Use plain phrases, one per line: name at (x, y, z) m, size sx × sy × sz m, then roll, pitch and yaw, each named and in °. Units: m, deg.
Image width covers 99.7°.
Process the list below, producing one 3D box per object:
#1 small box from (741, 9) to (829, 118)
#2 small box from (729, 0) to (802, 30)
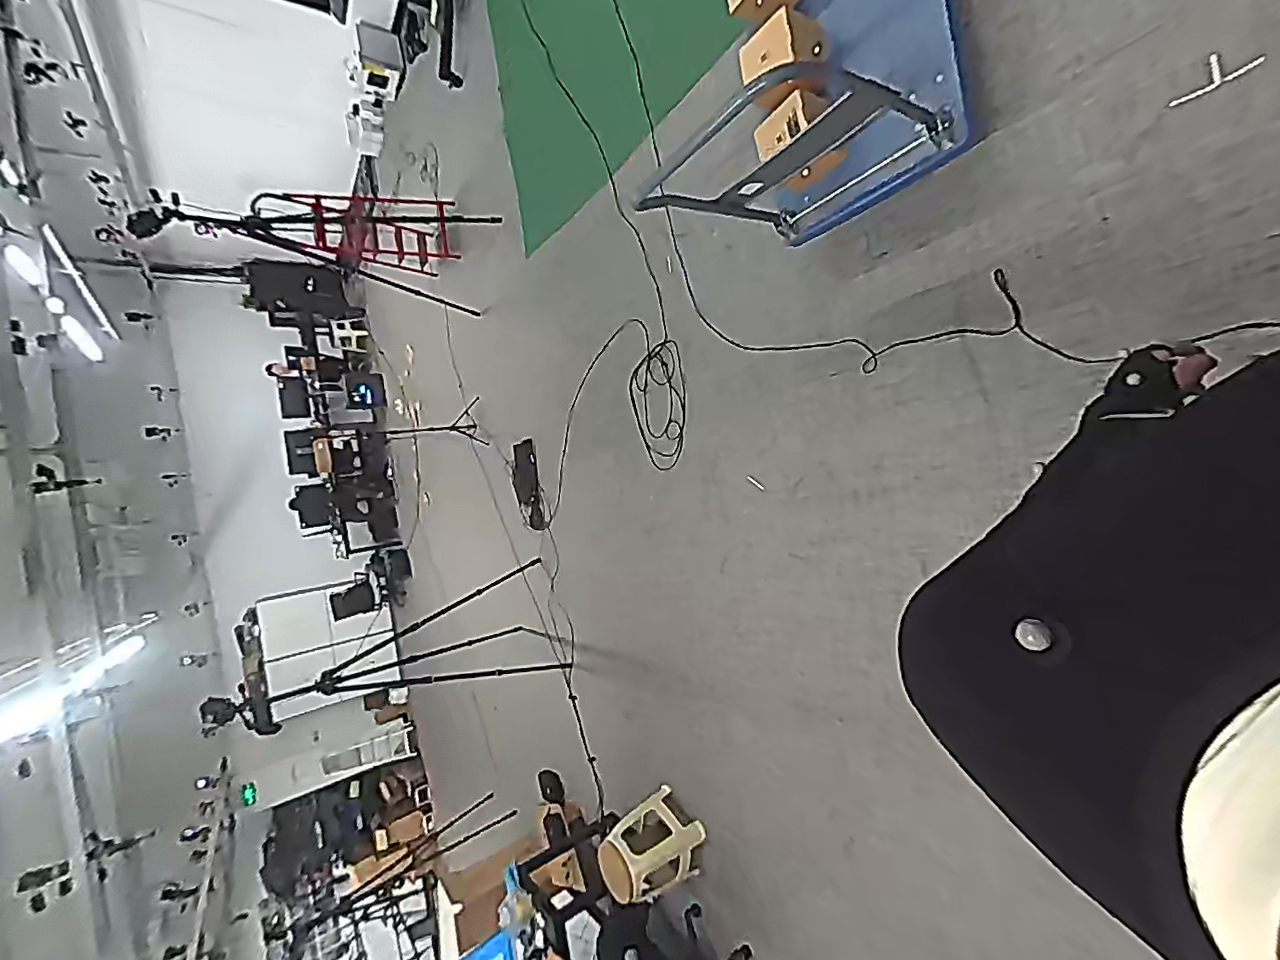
small box at (0.430, -1.218, 1.600) m, size 0.179 × 0.176 × 0.168 m, roll -10°, pitch 89°, yaw 53°
small box at (0.378, -1.494, 1.605) m, size 0.179 × 0.176 × 0.168 m, roll -11°, pitch 89°, yaw 54°
